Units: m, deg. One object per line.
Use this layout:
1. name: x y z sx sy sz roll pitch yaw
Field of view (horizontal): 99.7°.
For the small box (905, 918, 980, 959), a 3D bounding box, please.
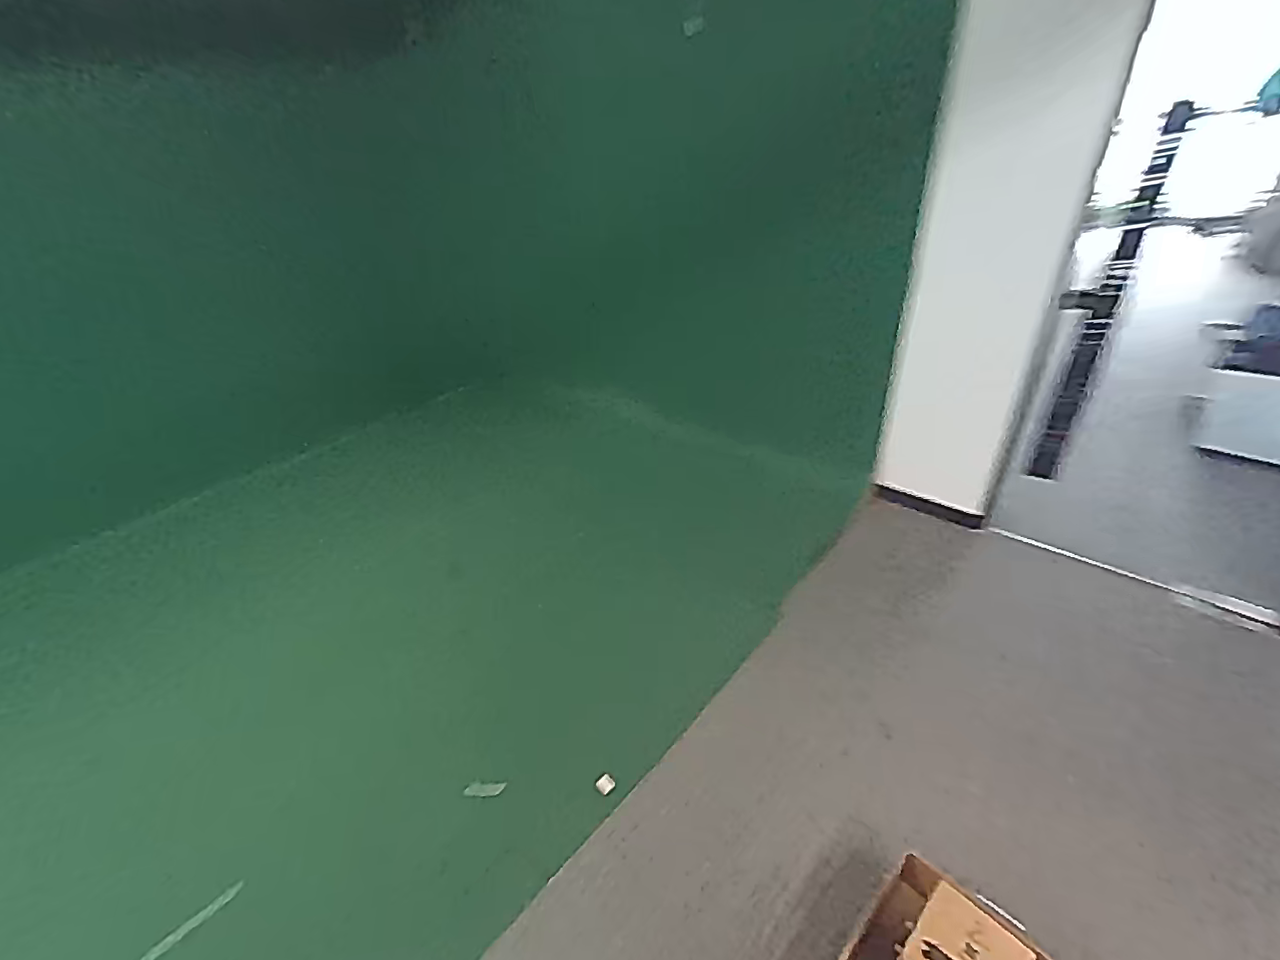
1. small box: 0.611 1.054 1.089 0.179 0.176 0.168 -29 41 -31
